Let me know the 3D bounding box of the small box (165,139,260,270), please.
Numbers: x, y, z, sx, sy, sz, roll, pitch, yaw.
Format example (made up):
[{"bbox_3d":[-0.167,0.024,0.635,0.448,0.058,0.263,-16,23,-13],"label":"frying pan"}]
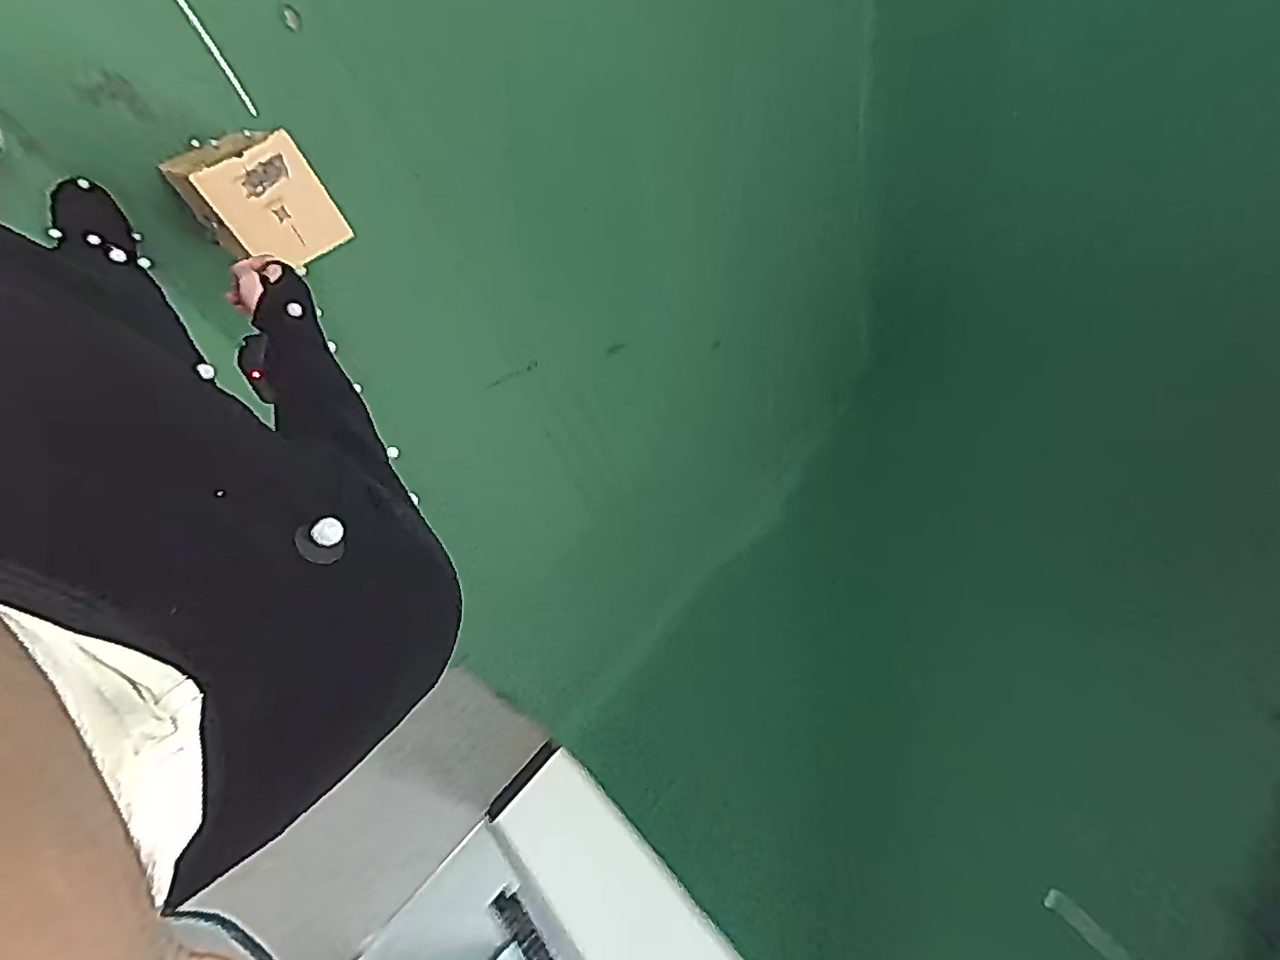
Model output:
[{"bbox_3d":[-0.765,-0.537,1.047,0.168,0.176,0.179,-42,137,-20],"label":"small box"}]

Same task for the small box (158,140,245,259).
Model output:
[{"bbox_3d":[-0.871,-0.602,1.152,0.168,0.176,0.179,-41,137,-21],"label":"small box"}]

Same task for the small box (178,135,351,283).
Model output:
[{"bbox_3d":[-0.655,-0.473,0.944,0.168,0.176,0.179,-42,138,-20],"label":"small box"}]
